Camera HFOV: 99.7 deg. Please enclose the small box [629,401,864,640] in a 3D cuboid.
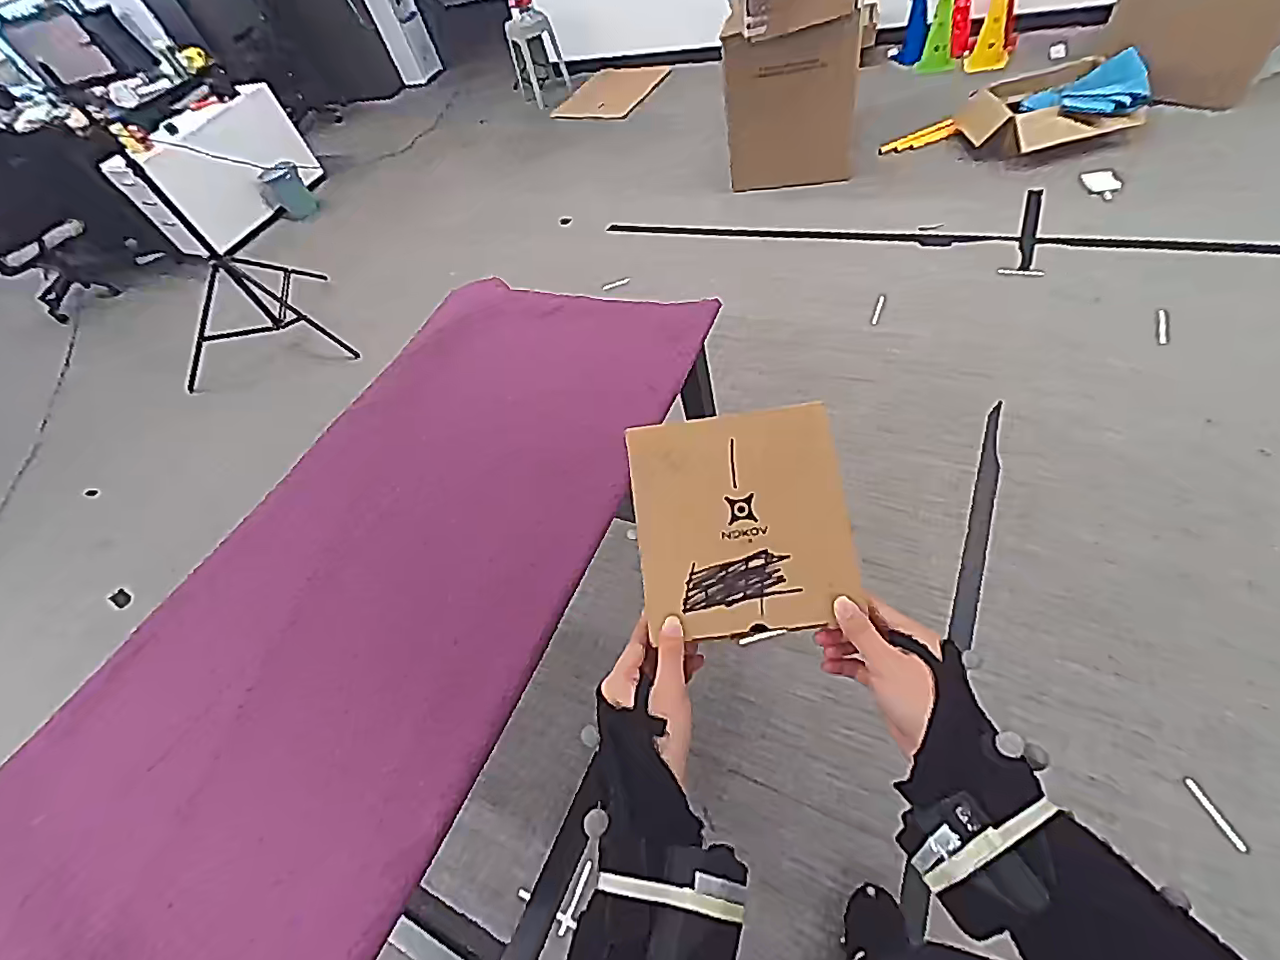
[{"bbox_3d":[0.087,0.045,0.502,0.168,0.176,0.179,-7,77,3],"label":"small box"}]
